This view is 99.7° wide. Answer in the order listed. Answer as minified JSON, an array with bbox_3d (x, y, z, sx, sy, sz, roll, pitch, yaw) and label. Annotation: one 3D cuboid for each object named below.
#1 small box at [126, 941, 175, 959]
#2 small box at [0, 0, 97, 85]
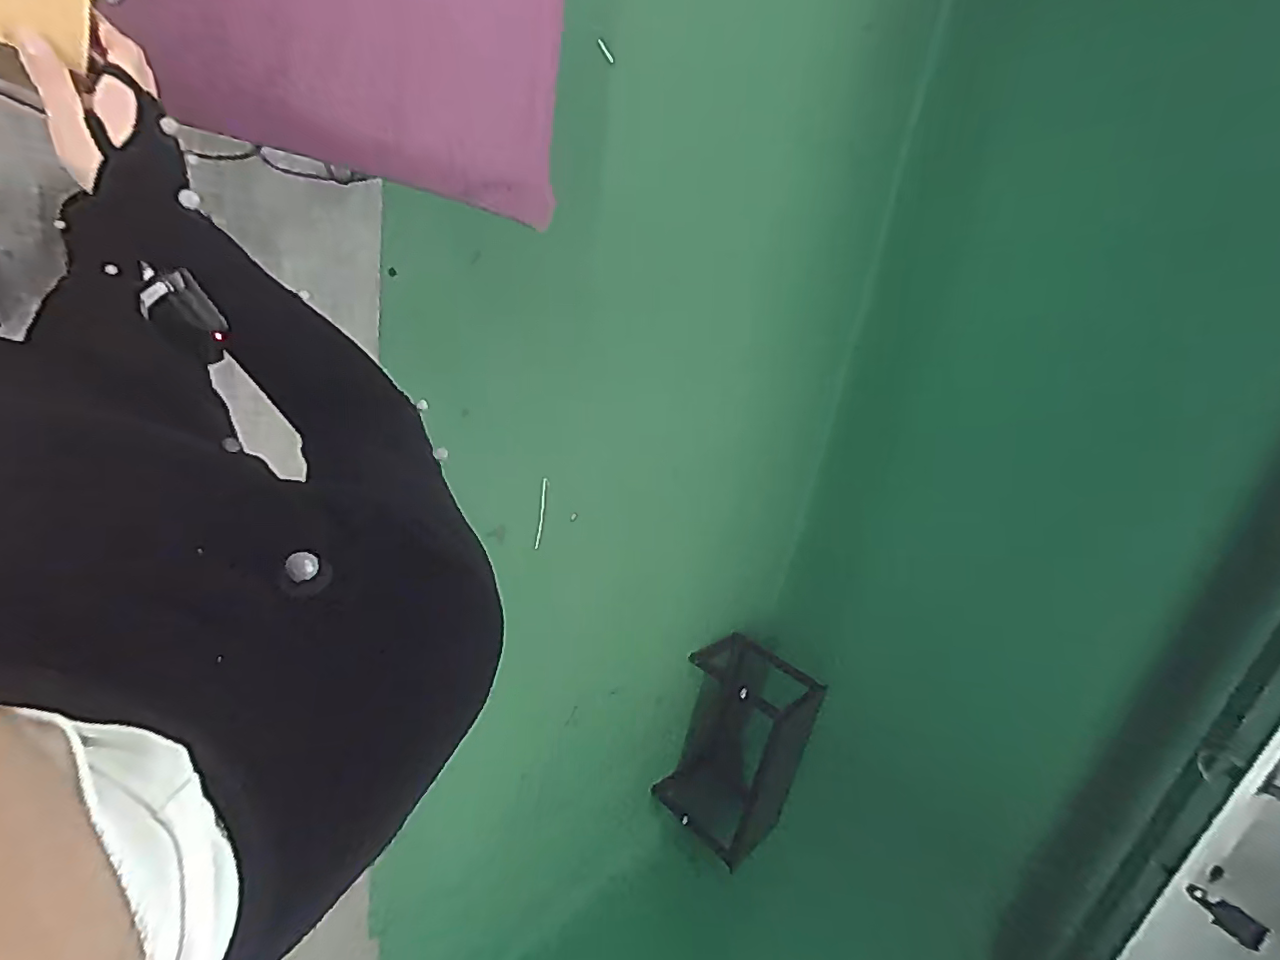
[{"bbox_3d":[-1.320,1.378,1.412,0.168,0.176,0.179,-6,114,-47],"label":"small box"},{"bbox_3d":[-0.515,-0.427,0.390,0.168,0.176,0.179,0,110,-50],"label":"small box"}]
